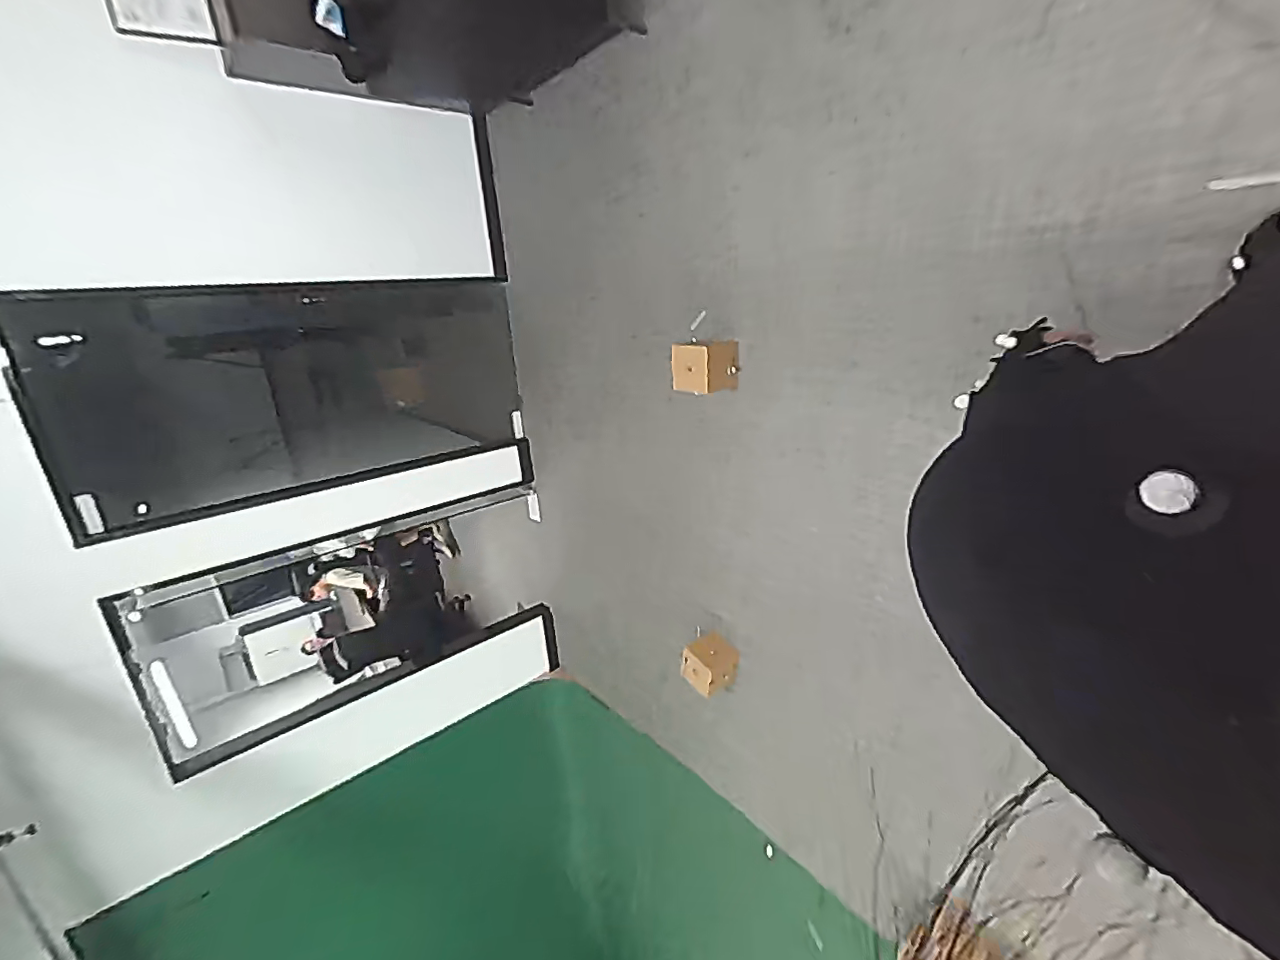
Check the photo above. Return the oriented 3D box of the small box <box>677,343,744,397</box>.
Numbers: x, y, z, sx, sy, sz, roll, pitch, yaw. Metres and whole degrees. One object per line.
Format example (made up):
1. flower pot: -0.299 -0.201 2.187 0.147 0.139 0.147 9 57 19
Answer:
1. small box: 0.254 -0.401 1.957 0.179 0.176 0.168 17 118 47

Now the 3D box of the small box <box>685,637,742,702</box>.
1. small box: 0.322 0.817 2.356 0.179 0.176 0.168 32 128 41
